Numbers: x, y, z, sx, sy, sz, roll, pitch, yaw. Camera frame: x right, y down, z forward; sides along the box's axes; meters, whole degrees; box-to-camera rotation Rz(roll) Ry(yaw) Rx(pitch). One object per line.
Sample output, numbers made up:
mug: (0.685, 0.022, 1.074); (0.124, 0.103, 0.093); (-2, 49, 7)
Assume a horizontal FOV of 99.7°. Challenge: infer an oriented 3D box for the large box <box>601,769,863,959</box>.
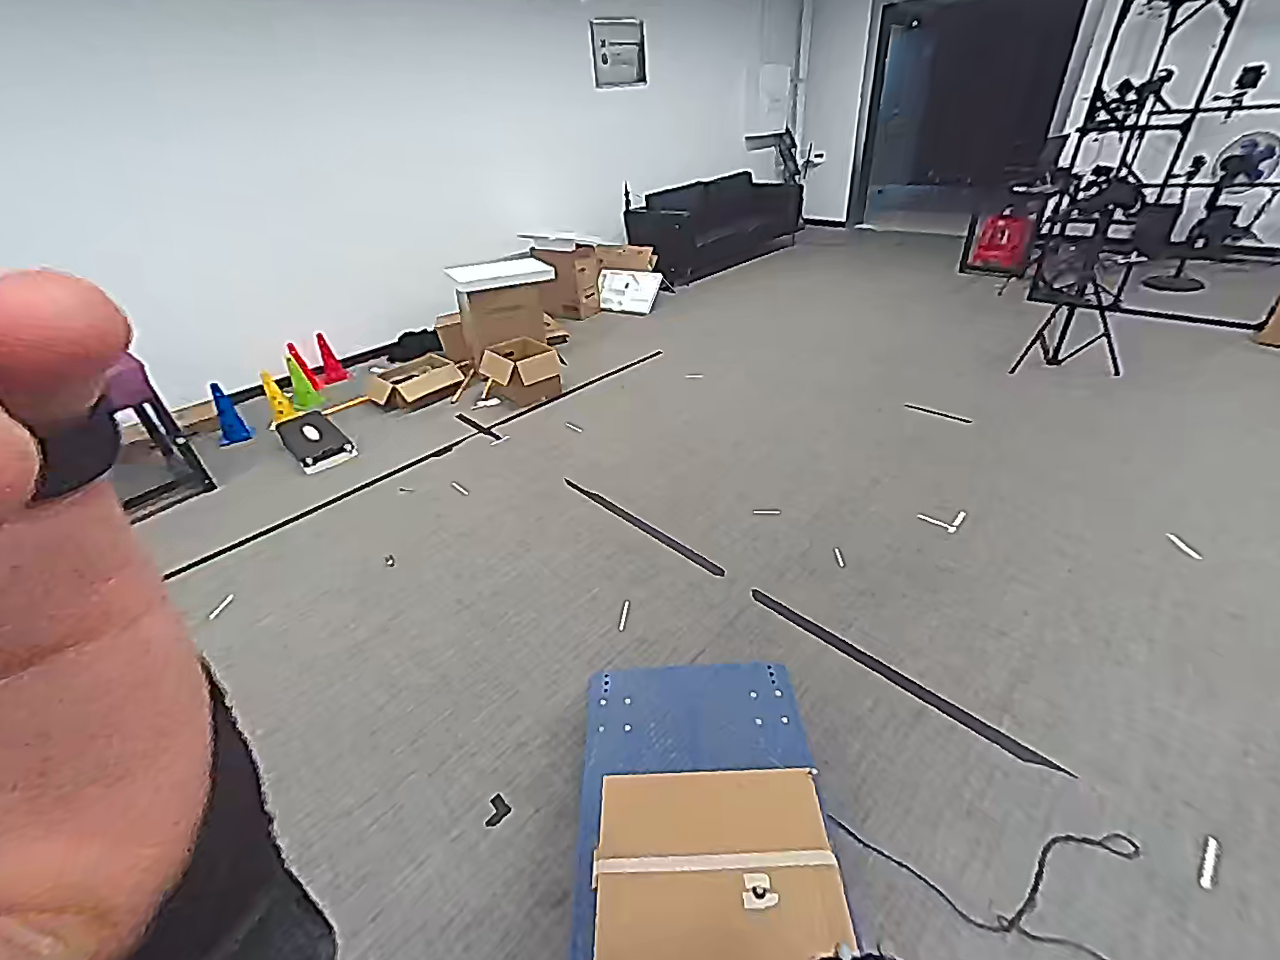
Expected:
large box: (0.141, 0.783, 1.009); (0.408, 0.320, 0.320); (-3, 35, 1)
